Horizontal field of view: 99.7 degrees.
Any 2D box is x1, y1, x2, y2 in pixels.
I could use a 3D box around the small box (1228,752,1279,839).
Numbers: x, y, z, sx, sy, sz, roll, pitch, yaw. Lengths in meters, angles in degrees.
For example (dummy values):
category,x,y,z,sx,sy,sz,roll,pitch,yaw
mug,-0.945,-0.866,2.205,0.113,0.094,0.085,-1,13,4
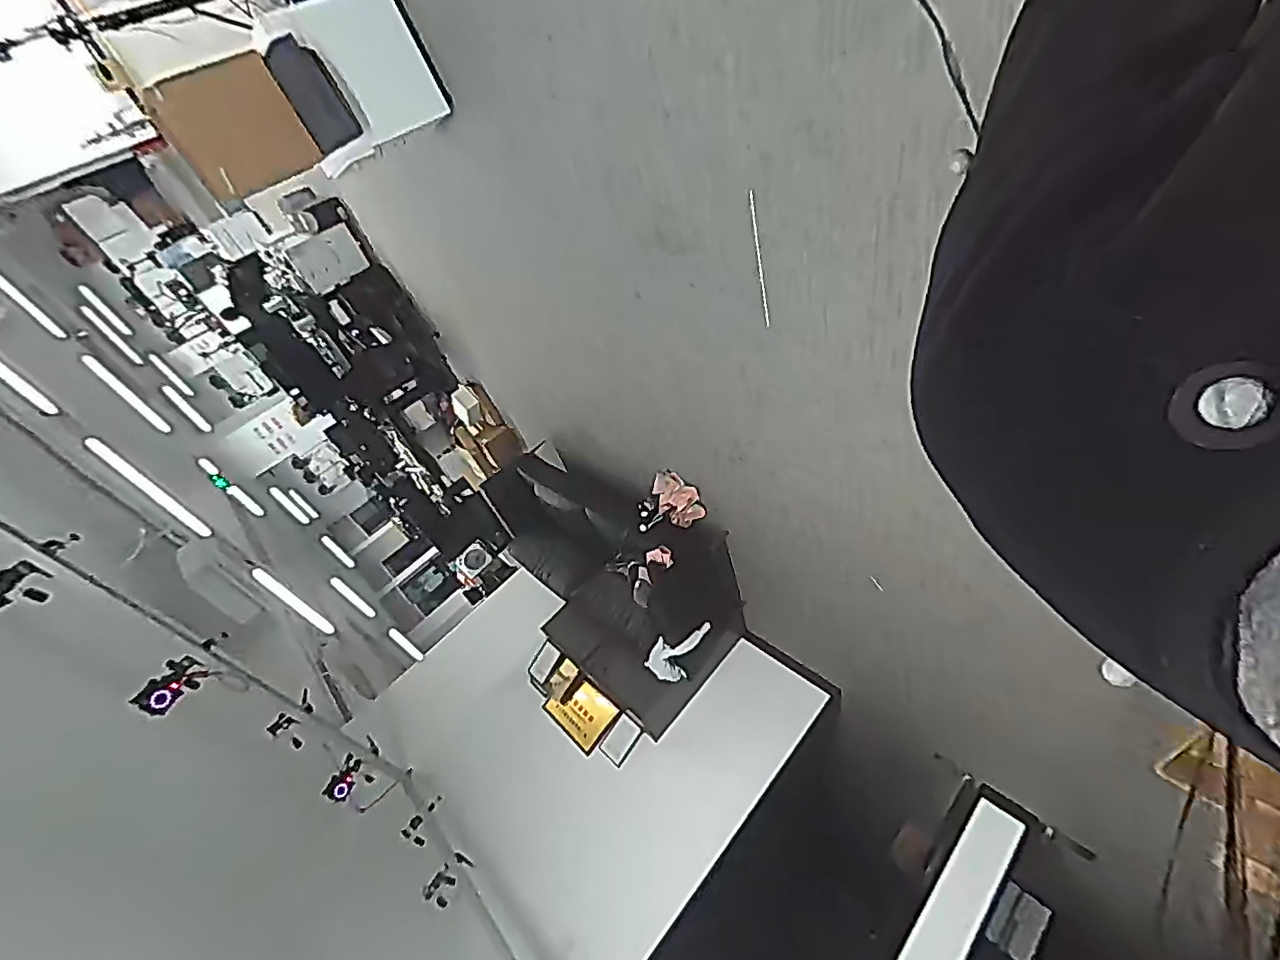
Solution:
category,x,y,z,sx,sy,sz,roll,pitch,yaw
small box,1.967,0.975,1.649,0.168,0.176,0.179,27,149,38
